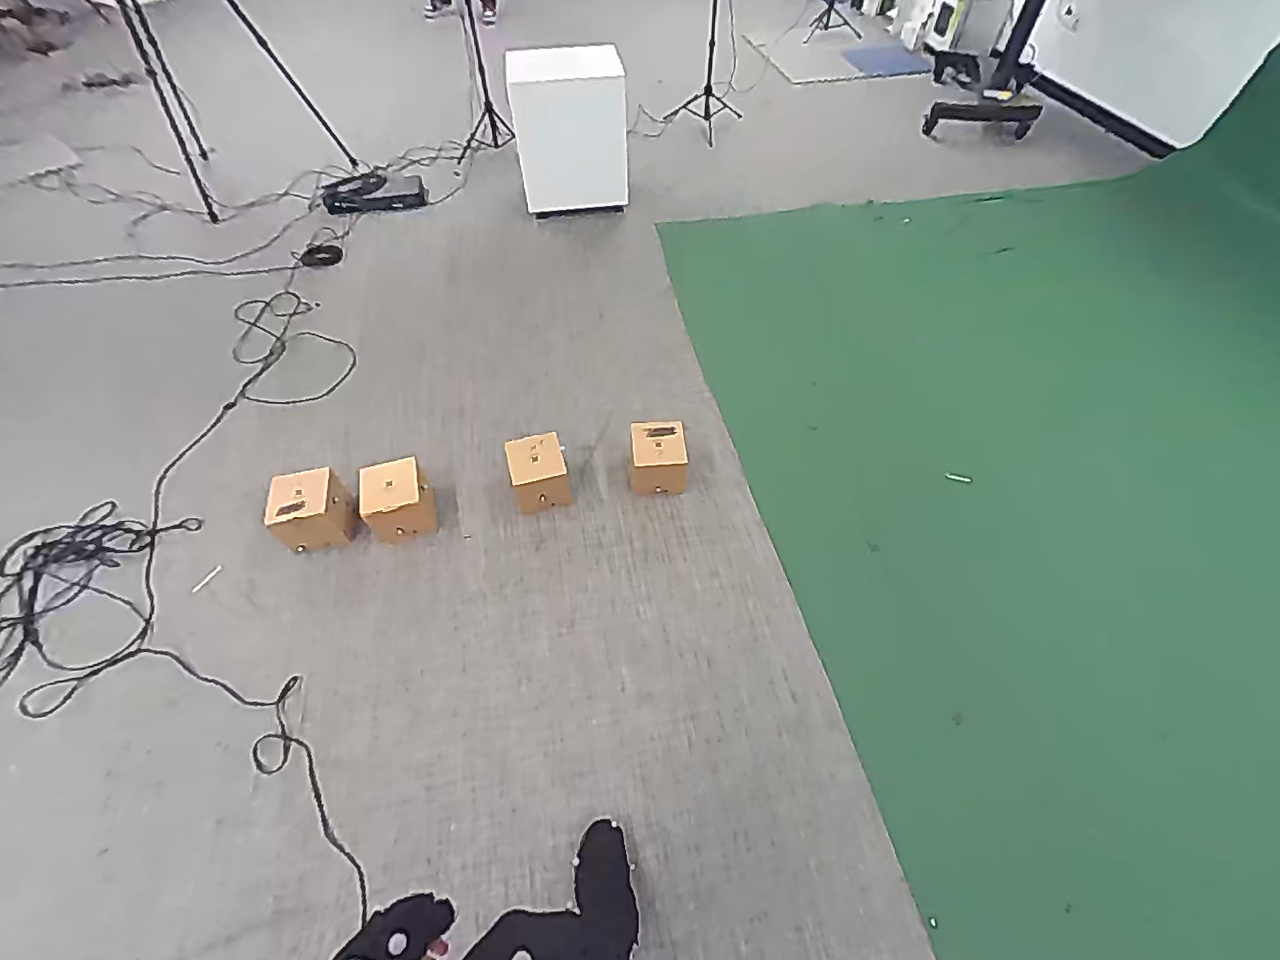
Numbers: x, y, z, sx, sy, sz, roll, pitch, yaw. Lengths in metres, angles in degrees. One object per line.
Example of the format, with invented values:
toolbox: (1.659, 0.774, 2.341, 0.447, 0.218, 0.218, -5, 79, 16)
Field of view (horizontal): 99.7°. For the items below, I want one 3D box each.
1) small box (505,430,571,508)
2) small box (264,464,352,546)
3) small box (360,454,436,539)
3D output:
small box: (-0.318, -0.028, 1.704, 0.168, 0.176, 0.179, -13, 56, -11)
small box: (-0.986, 0.081, 1.624, 0.168, 0.176, 0.179, -12, 55, -8)
small box: (-0.733, 0.053, 1.646, 0.168, 0.176, 0.179, -15, 57, -10)
